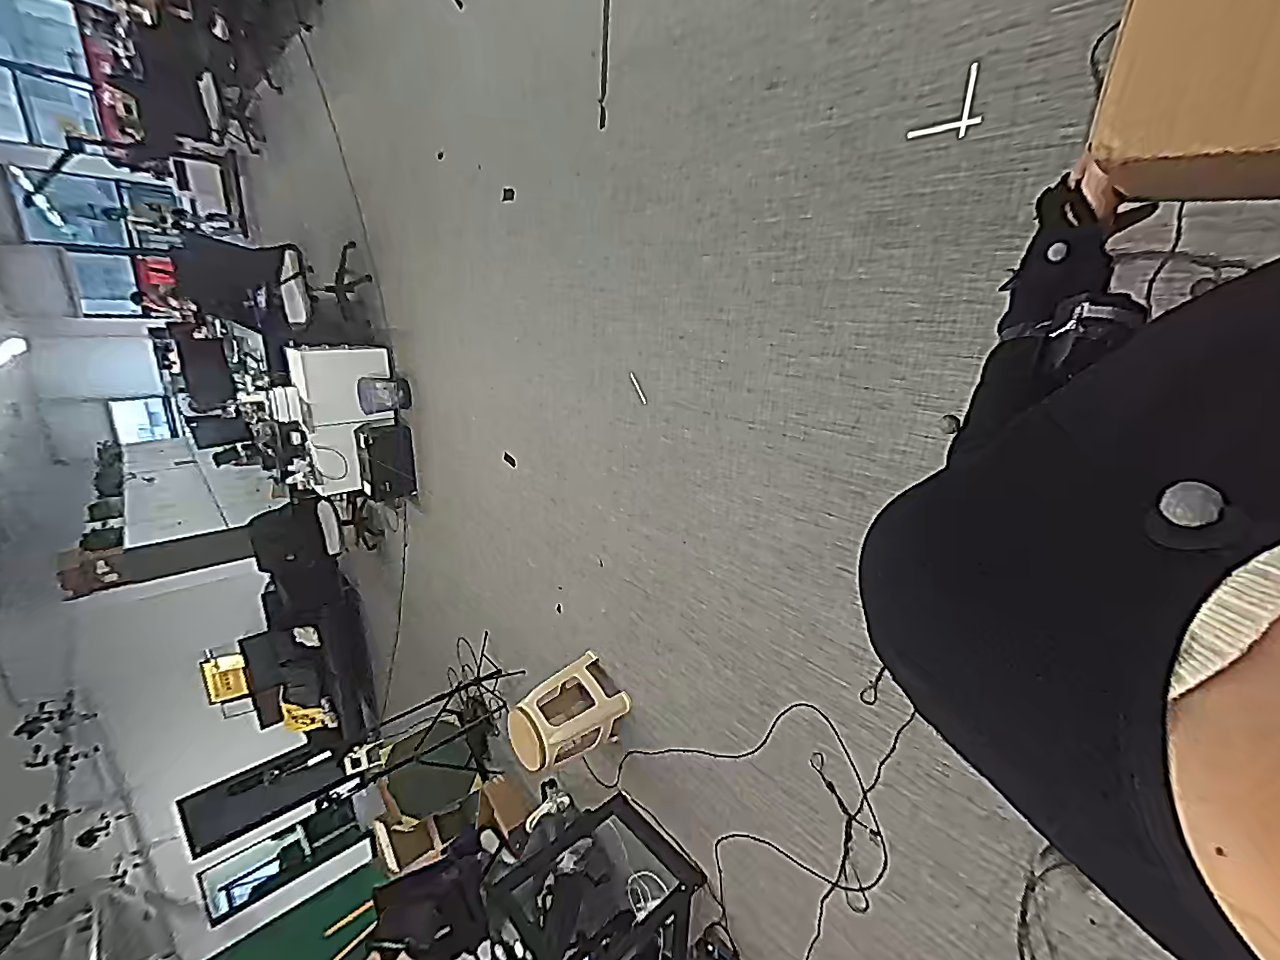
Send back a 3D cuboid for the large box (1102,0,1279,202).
[{"bbox_3d":[0.461,-0.286,0.183,0.408,0.320,0.320,19,120,37],"label":"large box"}]
